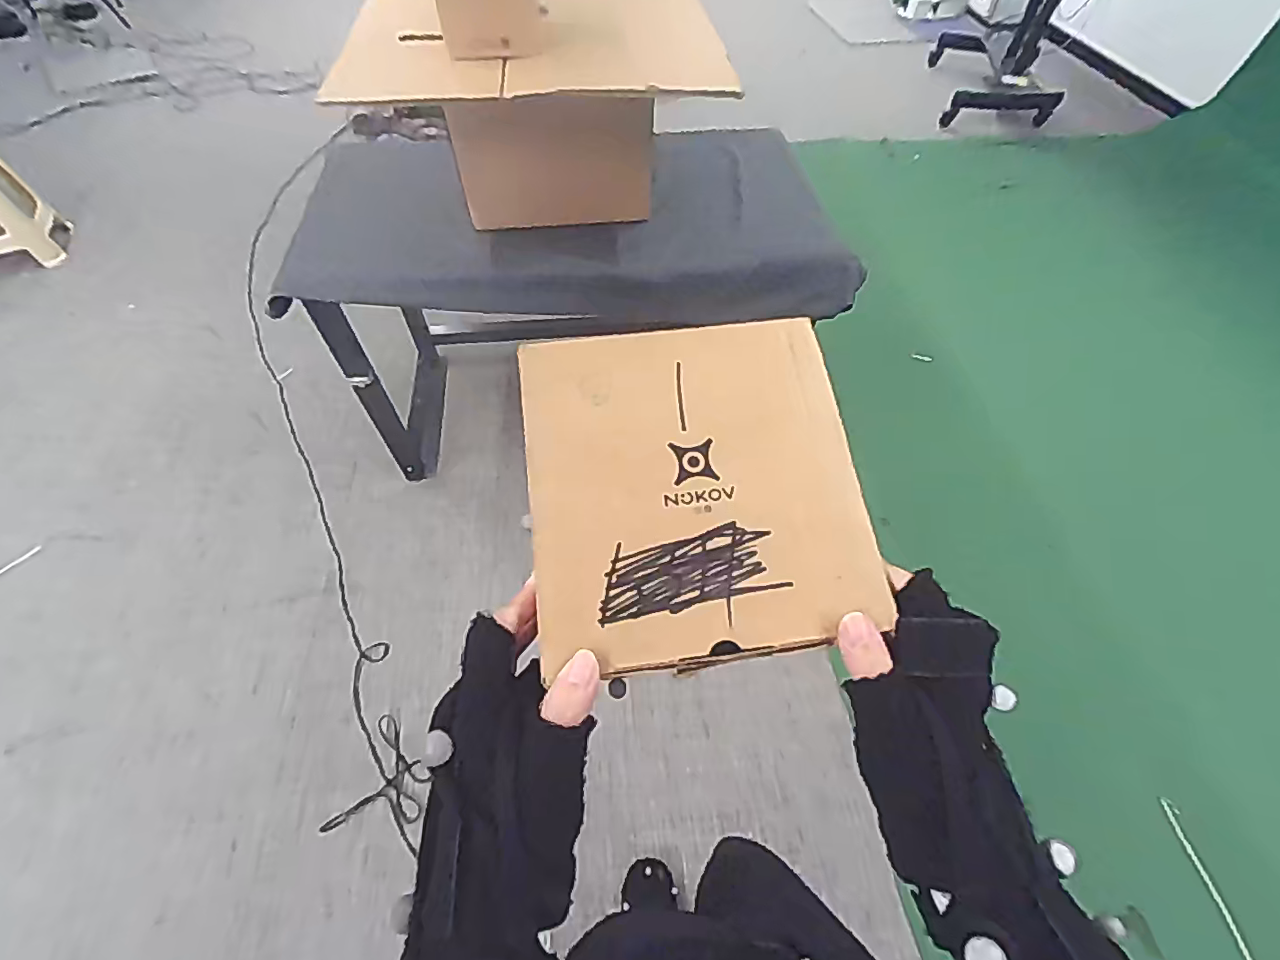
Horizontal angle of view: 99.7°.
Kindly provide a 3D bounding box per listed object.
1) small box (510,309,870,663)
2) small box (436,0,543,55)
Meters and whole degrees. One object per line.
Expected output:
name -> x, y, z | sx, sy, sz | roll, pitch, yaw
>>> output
small box -> 0.017, 0.018, 0.352 | 0.168, 0.176, 0.179 | -7, 70, -5
small box -> -0.262, -0.859, 0.925 | 0.168, 0.176, 0.179 | -5, 56, -3
